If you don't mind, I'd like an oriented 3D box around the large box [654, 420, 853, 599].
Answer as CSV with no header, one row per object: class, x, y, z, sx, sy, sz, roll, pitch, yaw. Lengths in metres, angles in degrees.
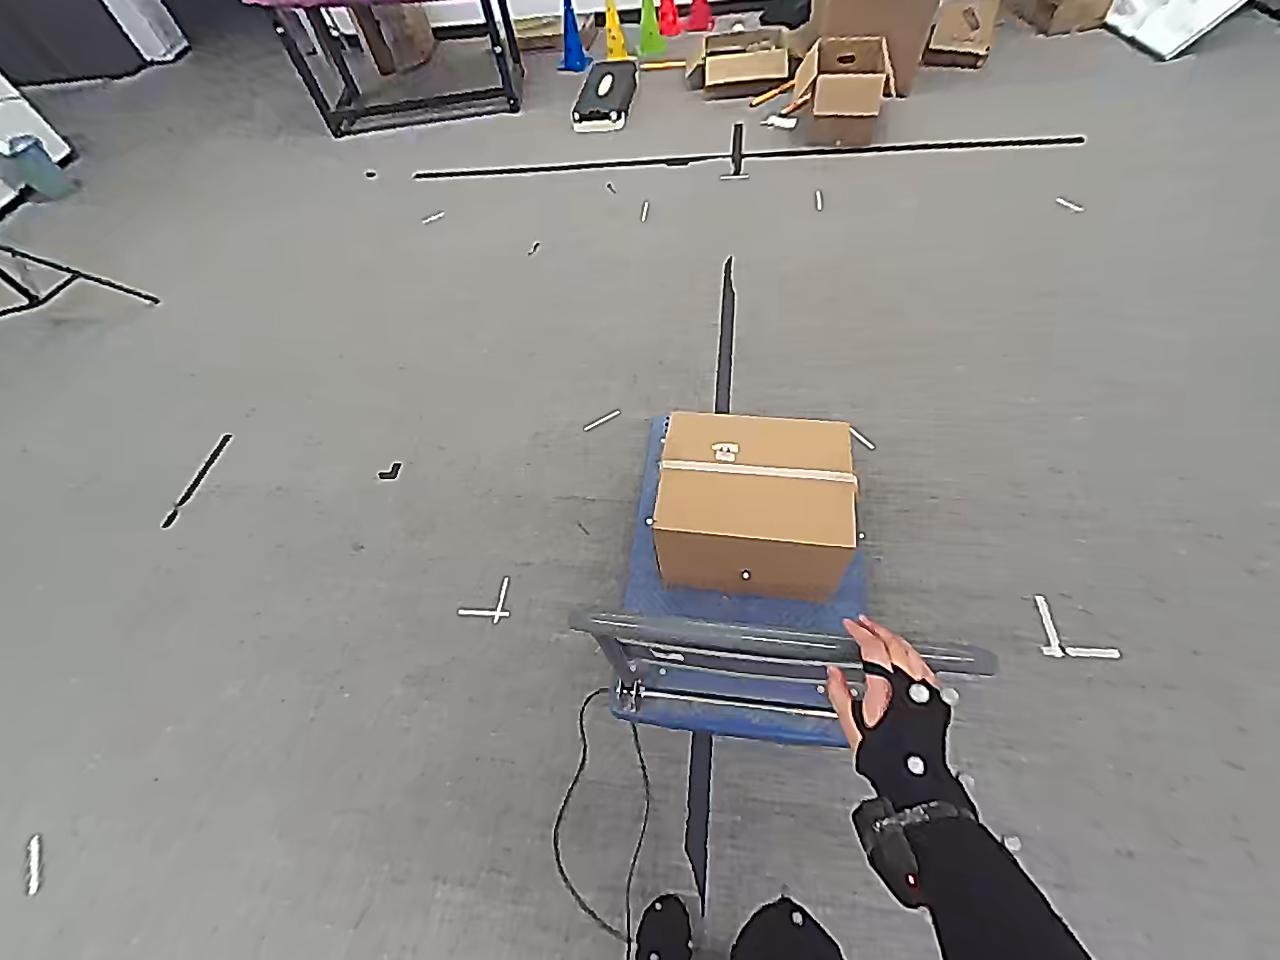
large box,0.265,0.075,1.297,0.408,0.320,0.320,4,57,11
